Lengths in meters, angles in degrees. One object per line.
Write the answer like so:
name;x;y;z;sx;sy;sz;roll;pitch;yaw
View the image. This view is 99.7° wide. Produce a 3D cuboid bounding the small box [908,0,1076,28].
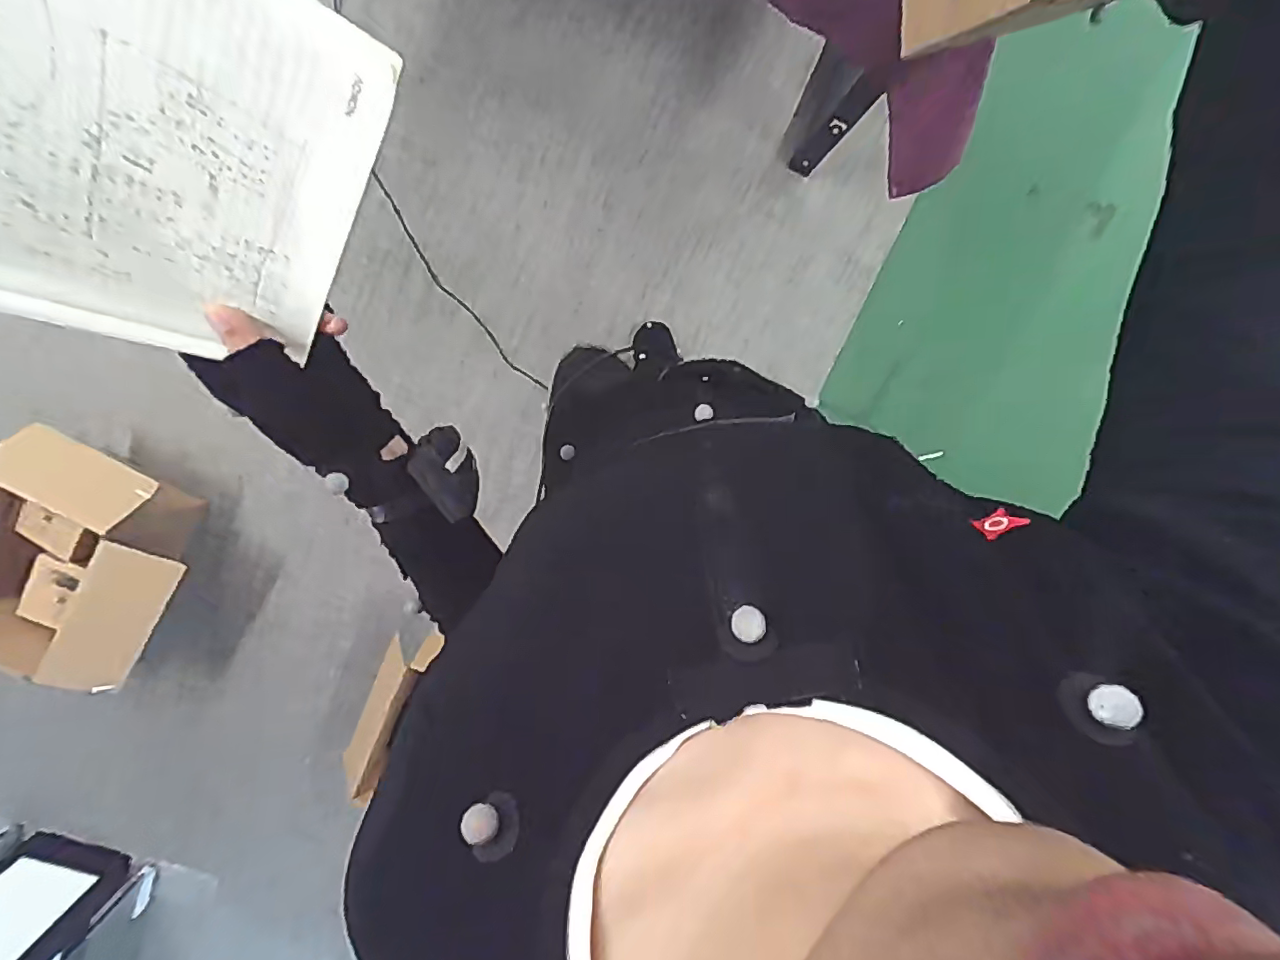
small box;0.318;-0.463;0.393;0.168;0.176;0.179;-13;119;0
